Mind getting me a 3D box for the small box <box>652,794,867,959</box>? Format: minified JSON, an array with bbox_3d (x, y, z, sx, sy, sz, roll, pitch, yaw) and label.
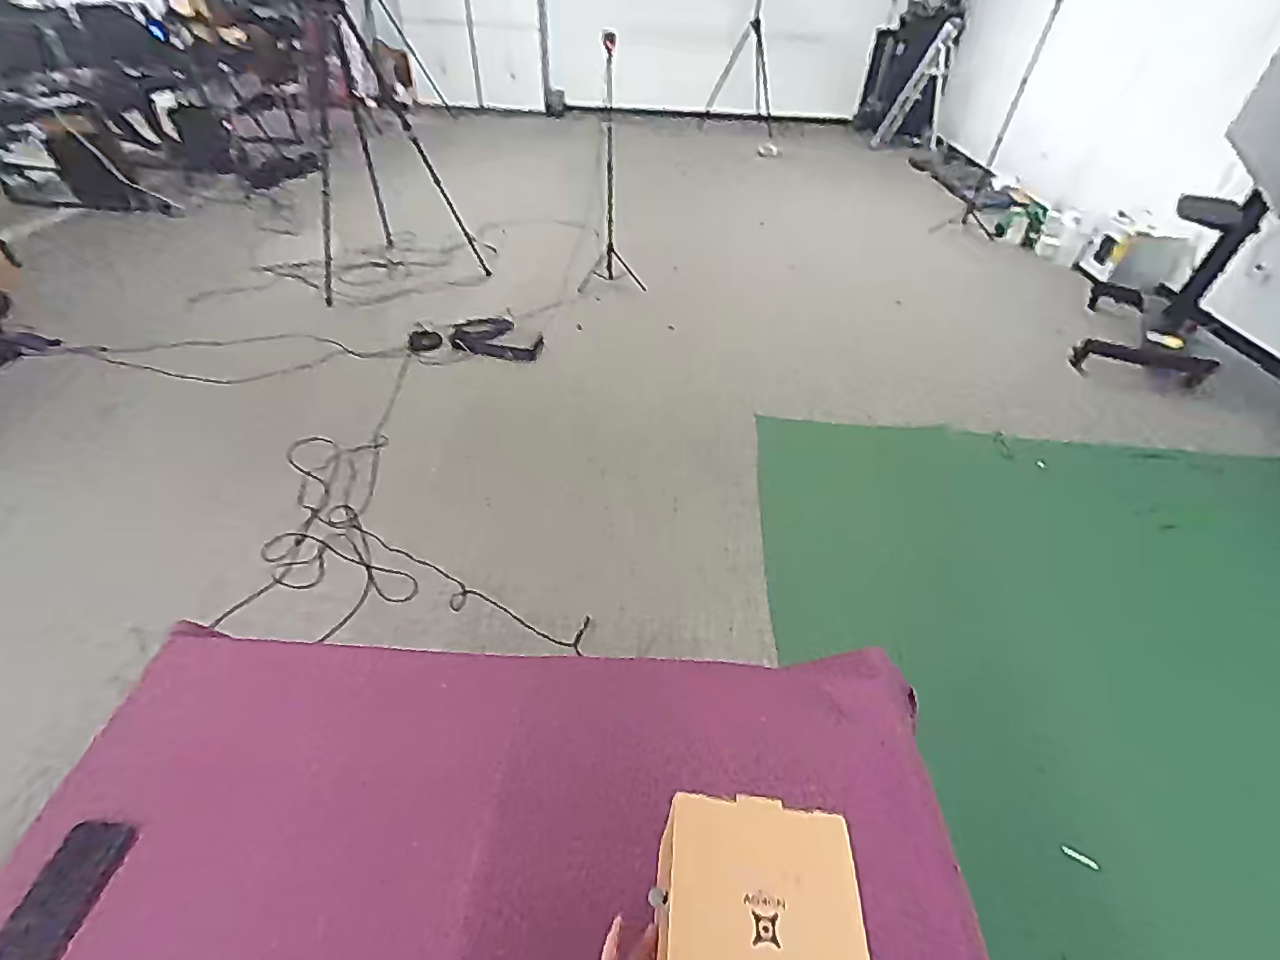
[{"bbox_3d":[0.098,0.426,0.500,0.168,0.176,0.179,6,40,3],"label":"small box"}]
